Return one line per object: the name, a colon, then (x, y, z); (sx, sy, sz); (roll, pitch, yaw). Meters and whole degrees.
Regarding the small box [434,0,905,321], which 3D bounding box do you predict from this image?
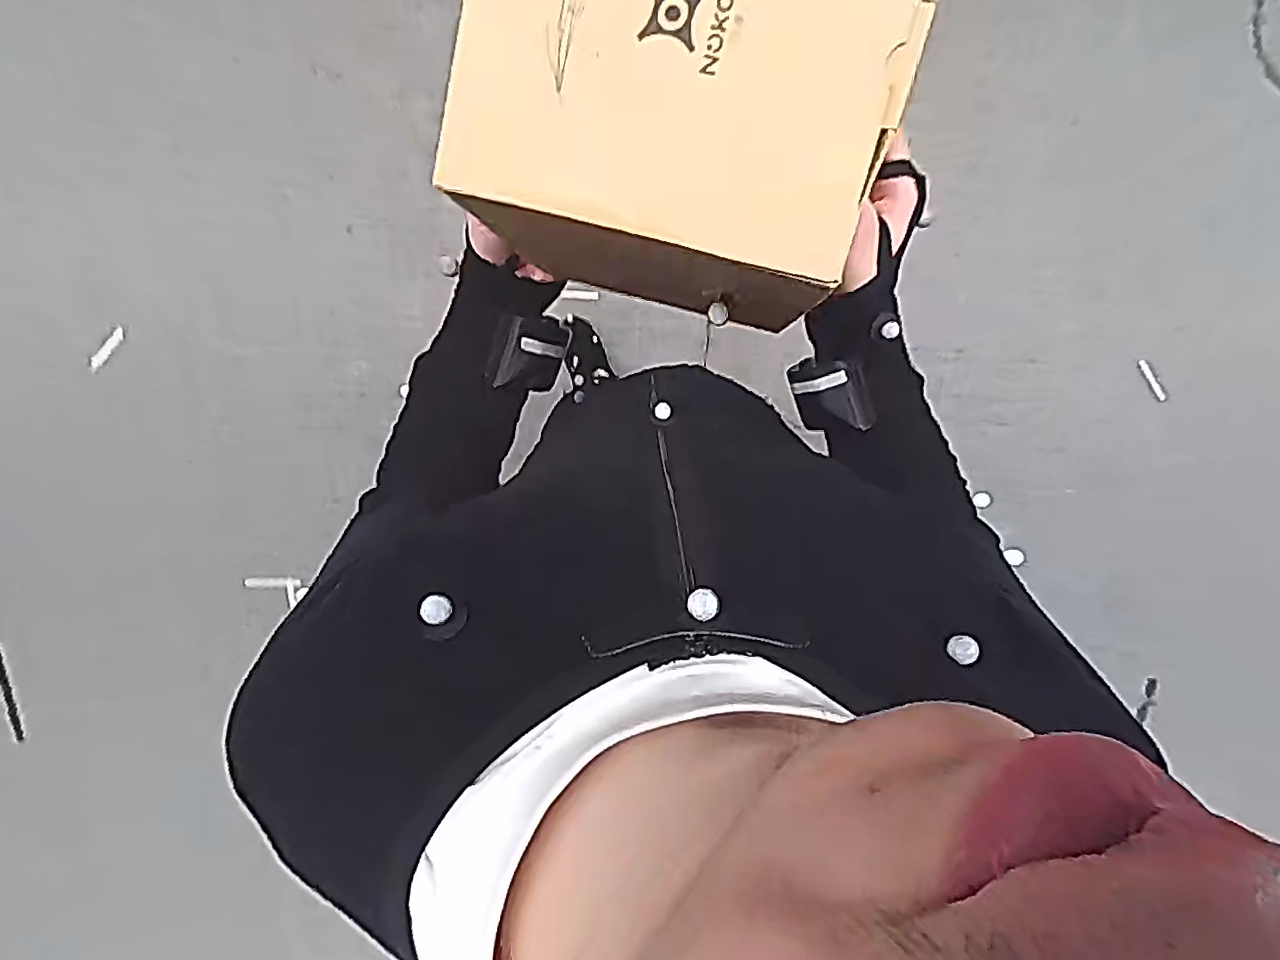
small box: (0.021, -0.194, 0.296); (0.179, 0.176, 0.168); (15, 99, 4)
